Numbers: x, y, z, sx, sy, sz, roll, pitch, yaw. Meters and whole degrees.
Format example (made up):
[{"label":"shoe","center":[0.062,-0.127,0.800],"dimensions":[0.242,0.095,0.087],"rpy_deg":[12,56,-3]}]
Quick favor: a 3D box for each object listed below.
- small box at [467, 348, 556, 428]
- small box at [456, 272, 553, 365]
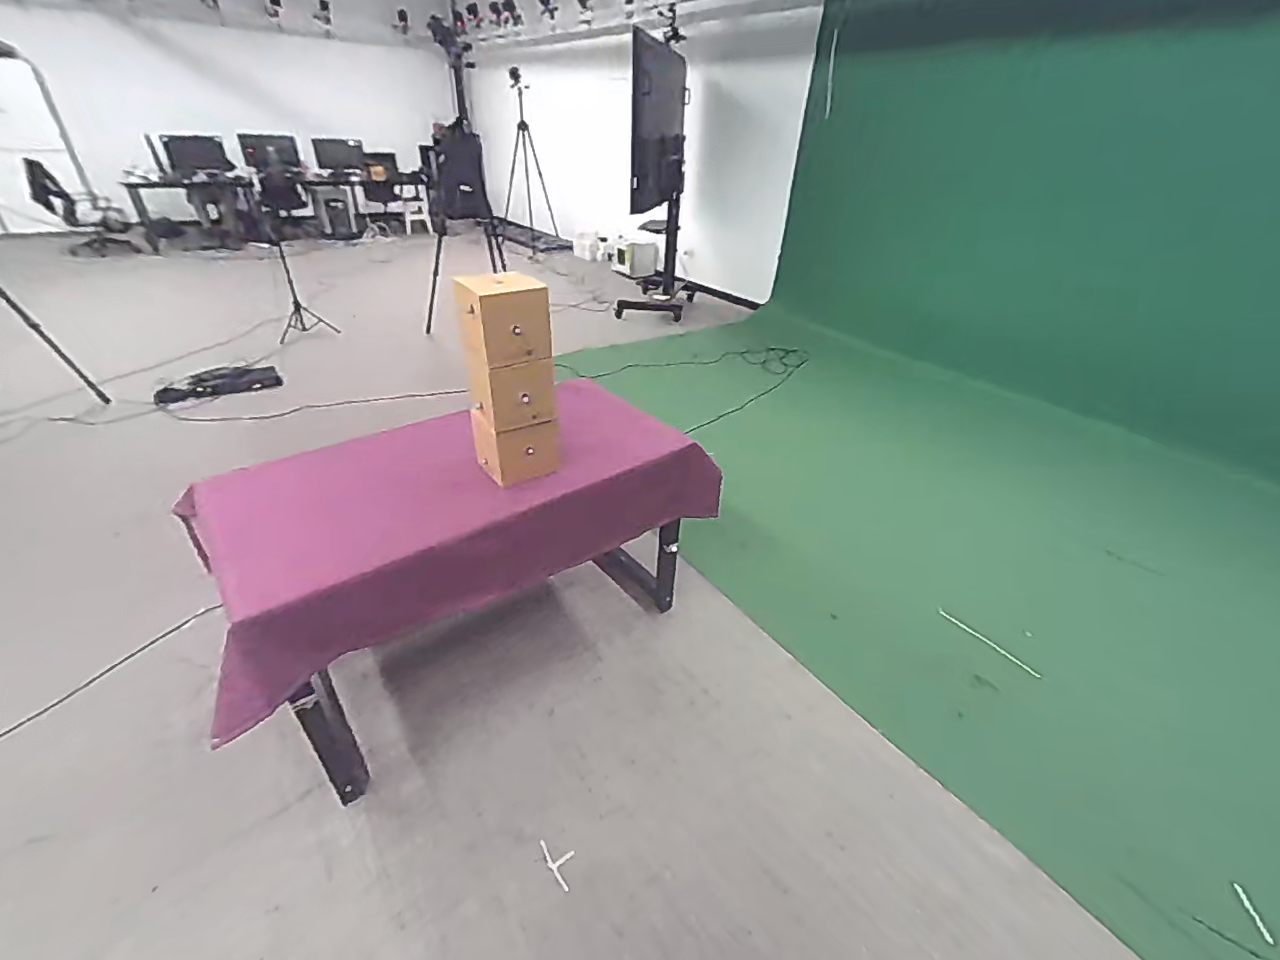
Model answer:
[{"label":"small box","center":[-0.322,-0.243,1.374],"dimensions":[0.168,0.176,0.179],"rpy_deg":[-18,39,-28]},{"label":"small box","center":[-0.316,-0.380,1.281],"dimensions":[0.168,0.176,0.179],"rpy_deg":[-19,38,-29]}]
